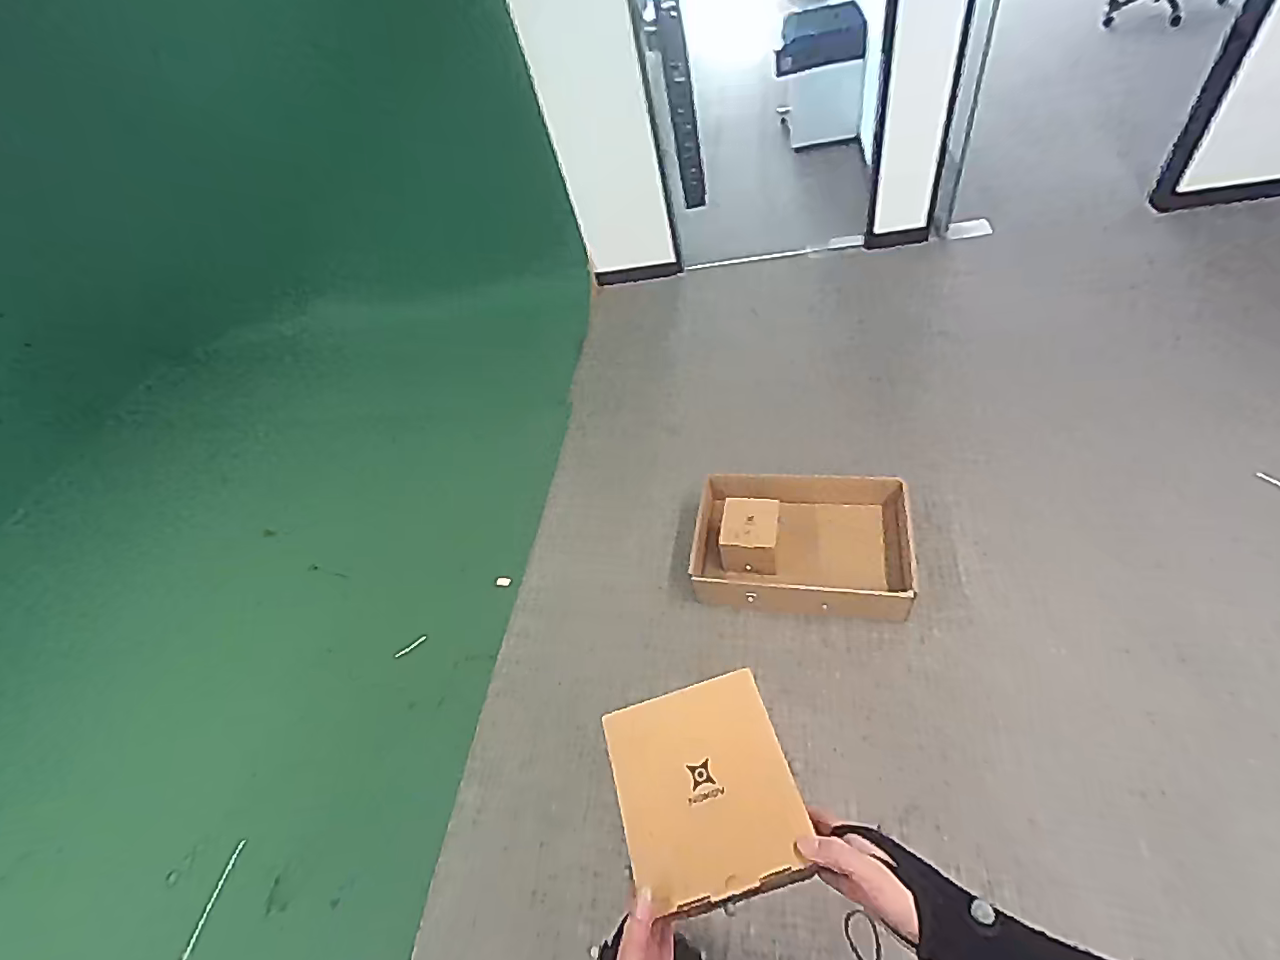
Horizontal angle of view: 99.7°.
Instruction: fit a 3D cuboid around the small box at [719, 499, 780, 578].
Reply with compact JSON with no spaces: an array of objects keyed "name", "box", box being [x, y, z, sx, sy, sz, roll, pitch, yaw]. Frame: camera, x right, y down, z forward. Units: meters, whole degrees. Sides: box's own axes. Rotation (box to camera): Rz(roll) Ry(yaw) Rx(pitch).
[{"name":"small box","box":[0.347,0.181,1.682,0.168,0.176,0.179,2,52,18]}]
